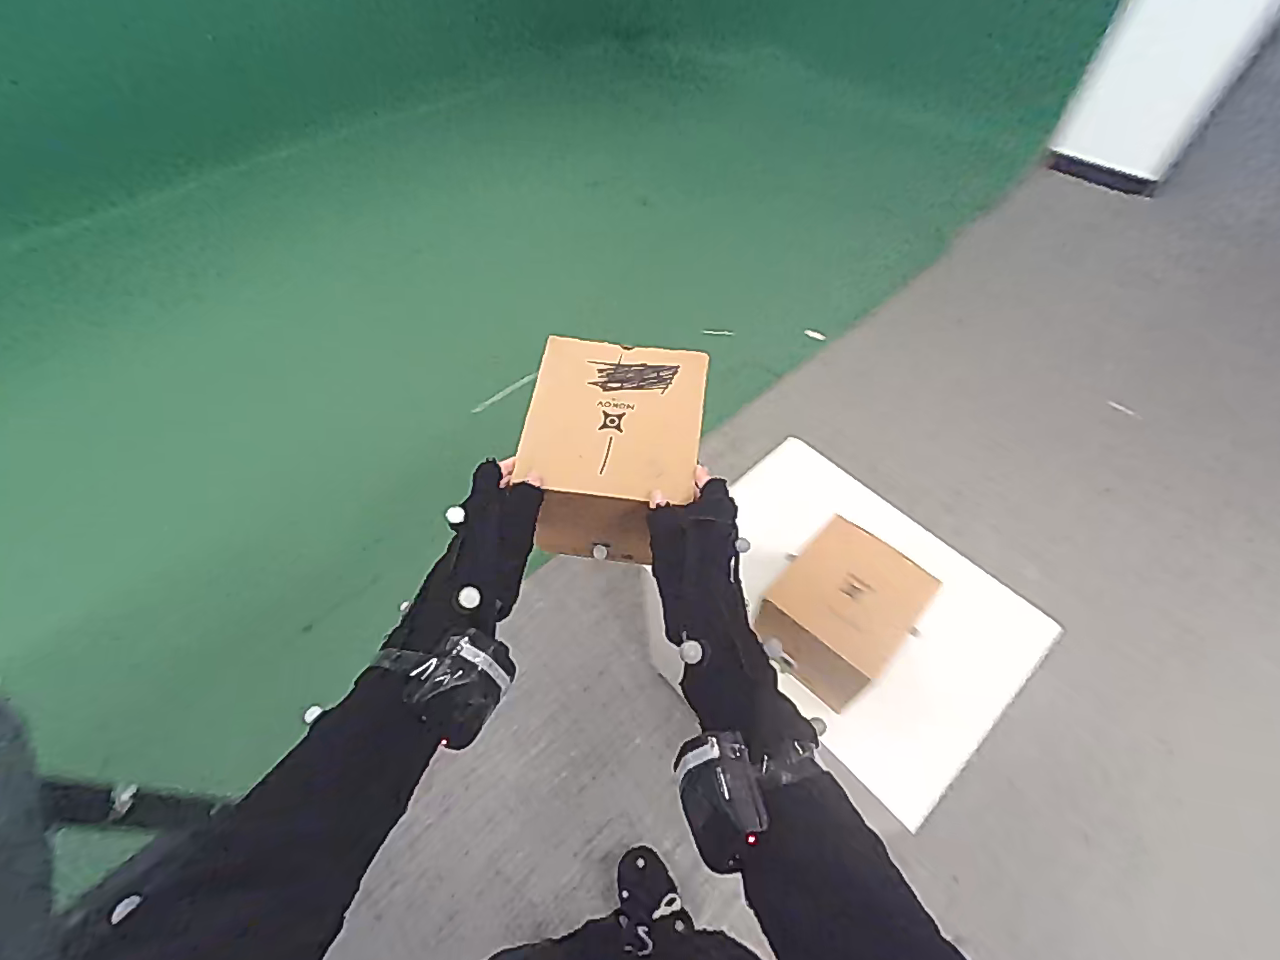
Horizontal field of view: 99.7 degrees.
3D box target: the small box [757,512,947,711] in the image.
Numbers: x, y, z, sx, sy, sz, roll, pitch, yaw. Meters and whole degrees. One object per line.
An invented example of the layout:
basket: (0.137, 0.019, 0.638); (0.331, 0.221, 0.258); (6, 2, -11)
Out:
small box: (0.278, 0.184, 0.750); (0.168, 0.176, 0.179); (37, 66, 27)
